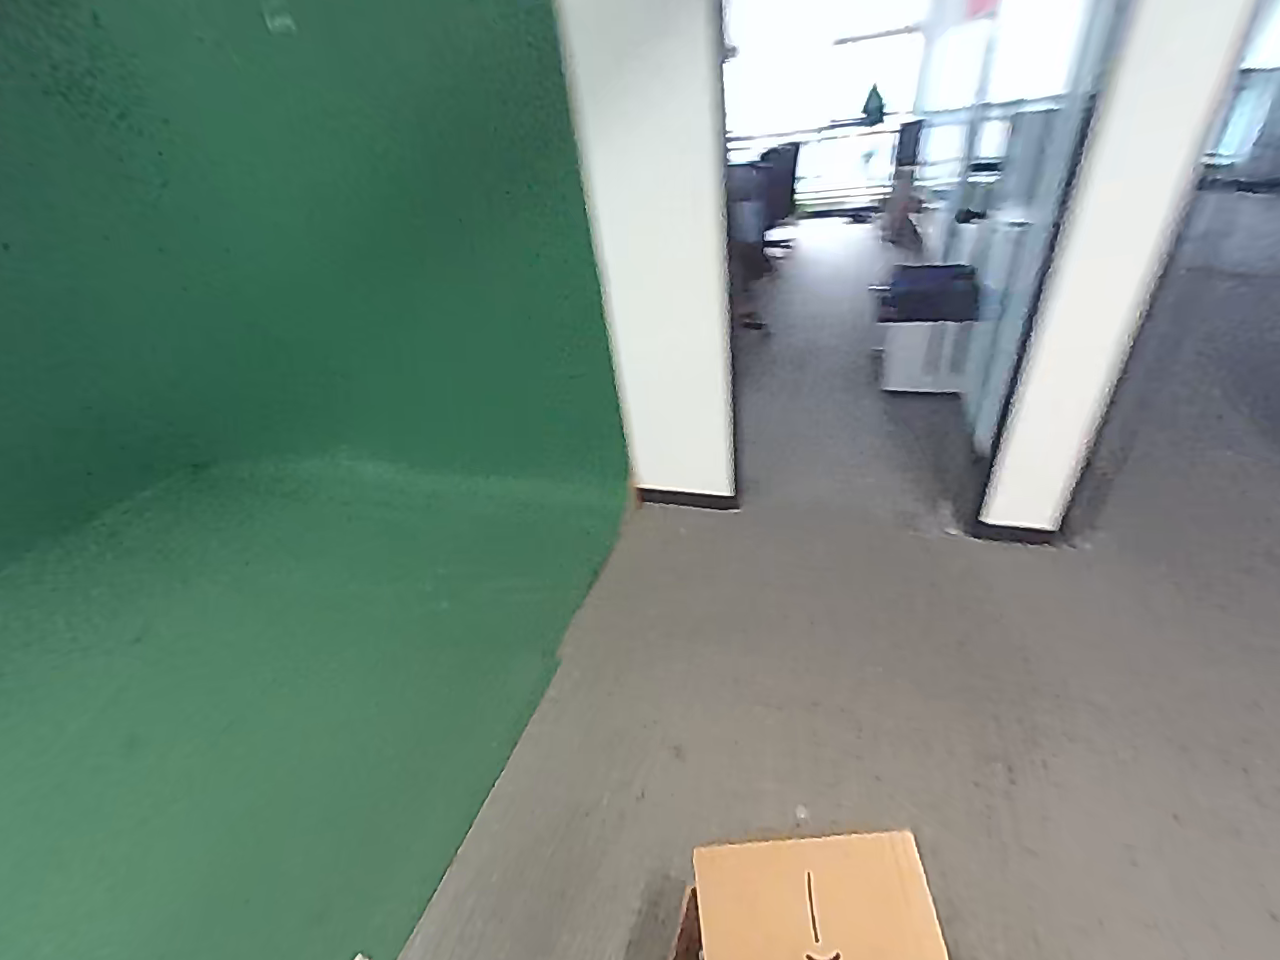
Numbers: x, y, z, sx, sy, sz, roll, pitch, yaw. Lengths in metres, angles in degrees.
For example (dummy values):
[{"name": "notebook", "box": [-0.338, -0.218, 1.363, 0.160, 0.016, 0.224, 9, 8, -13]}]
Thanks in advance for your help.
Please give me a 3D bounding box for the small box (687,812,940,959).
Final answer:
[{"name": "small box", "box": [0.142, 0.381, 0.434, 0.168, 0.176, 0.179, -12, 59, 9]}]
